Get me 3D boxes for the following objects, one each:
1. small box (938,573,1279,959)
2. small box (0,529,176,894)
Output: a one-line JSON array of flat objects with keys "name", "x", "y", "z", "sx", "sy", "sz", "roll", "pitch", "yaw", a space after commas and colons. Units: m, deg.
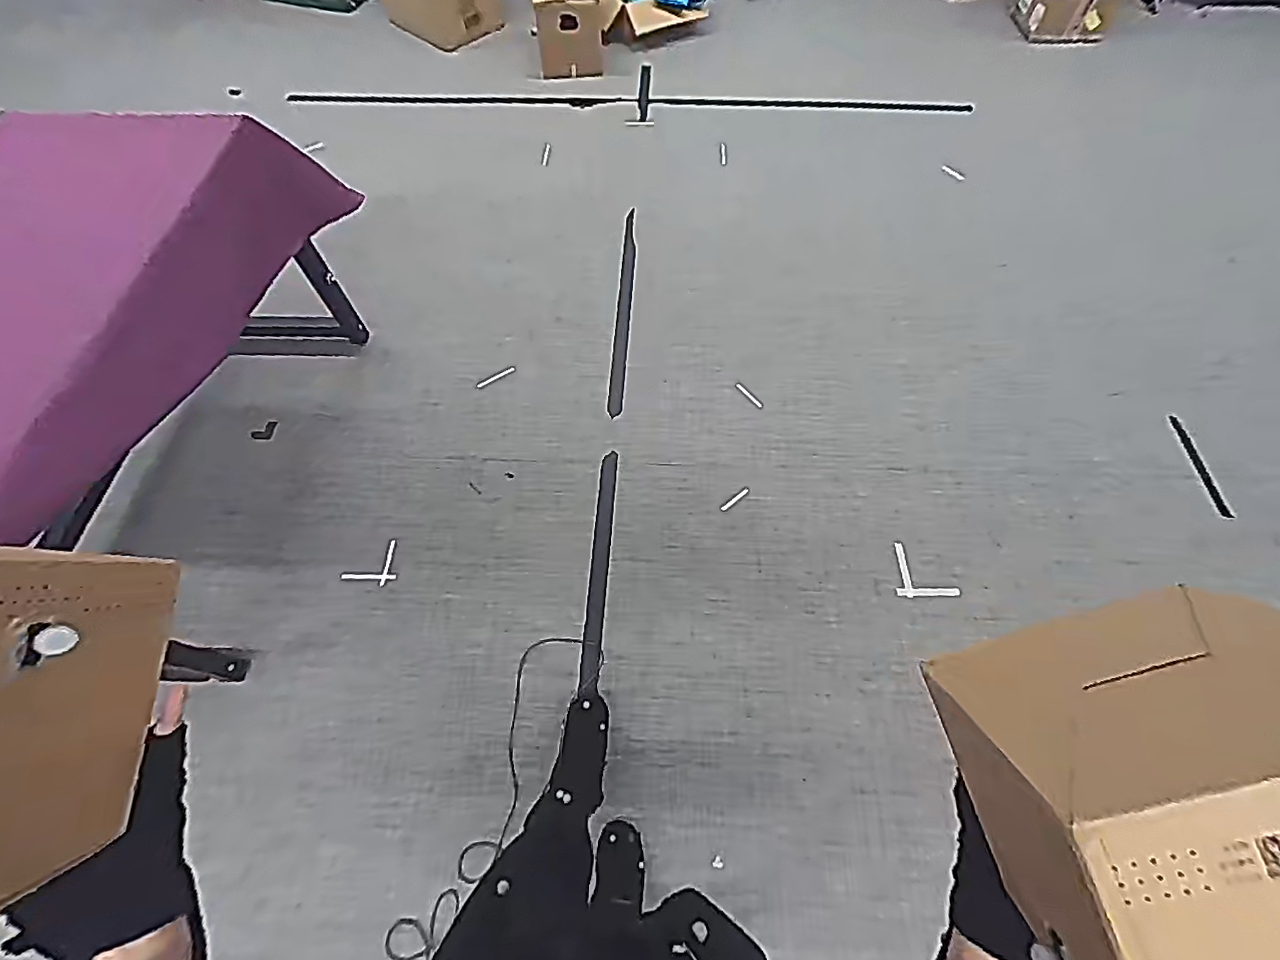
[{"name": "small box", "x": 0.274, "y": 0.159, "z": 0.256, "sx": 0.168, "sy": 0.179, "sz": 0.176, "roll": -20, "pitch": 88, "yaw": 10}, {"name": "small box", "x": -0.372, "y": 0.102, "z": 0.246, "sx": 0.168, "sy": 0.179, "sz": 0.176, "roll": 6, "pitch": 80, "yaw": -3}]
